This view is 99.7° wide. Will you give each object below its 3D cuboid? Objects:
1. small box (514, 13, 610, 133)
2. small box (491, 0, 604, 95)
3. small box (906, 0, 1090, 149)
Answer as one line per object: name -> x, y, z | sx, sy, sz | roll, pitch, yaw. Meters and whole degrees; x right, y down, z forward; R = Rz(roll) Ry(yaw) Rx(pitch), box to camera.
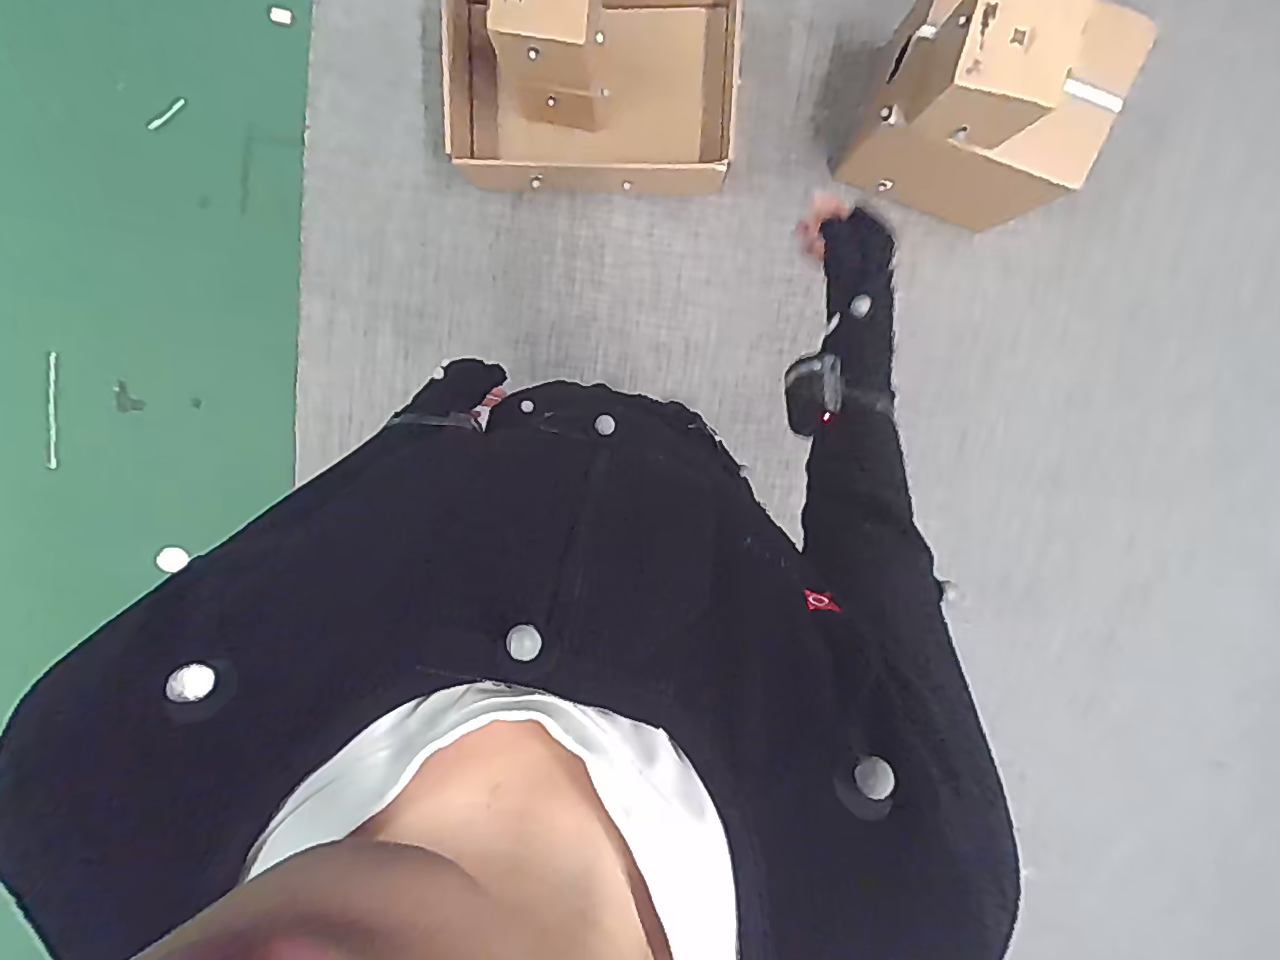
small box -> -0.166, -0.898, 1.190 | 0.179, 0.176, 0.168 | 8, 100, -3
small box -> -0.169, -0.871, 1.027 | 0.179, 0.176, 0.168 | 7, 100, -2
small box -> 0.603, -0.704, 0.935 | 0.179, 0.176, 0.168 | 13, 101, -2
